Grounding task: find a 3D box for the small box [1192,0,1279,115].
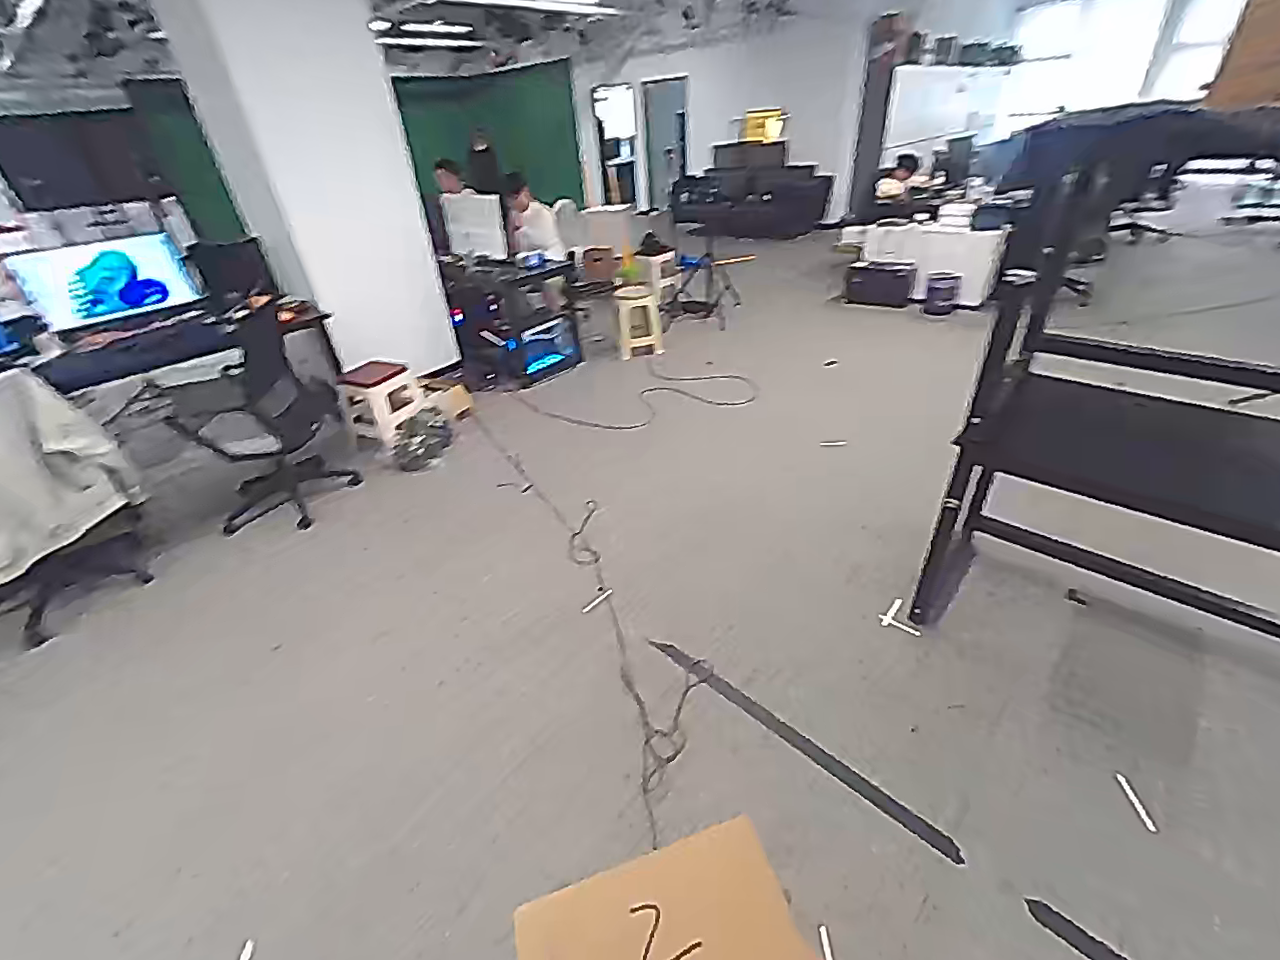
[{"bbox_3d":[1.135,-0.760,0.965,0.168,0.176,0.179,22,41,32],"label":"small box"}]
